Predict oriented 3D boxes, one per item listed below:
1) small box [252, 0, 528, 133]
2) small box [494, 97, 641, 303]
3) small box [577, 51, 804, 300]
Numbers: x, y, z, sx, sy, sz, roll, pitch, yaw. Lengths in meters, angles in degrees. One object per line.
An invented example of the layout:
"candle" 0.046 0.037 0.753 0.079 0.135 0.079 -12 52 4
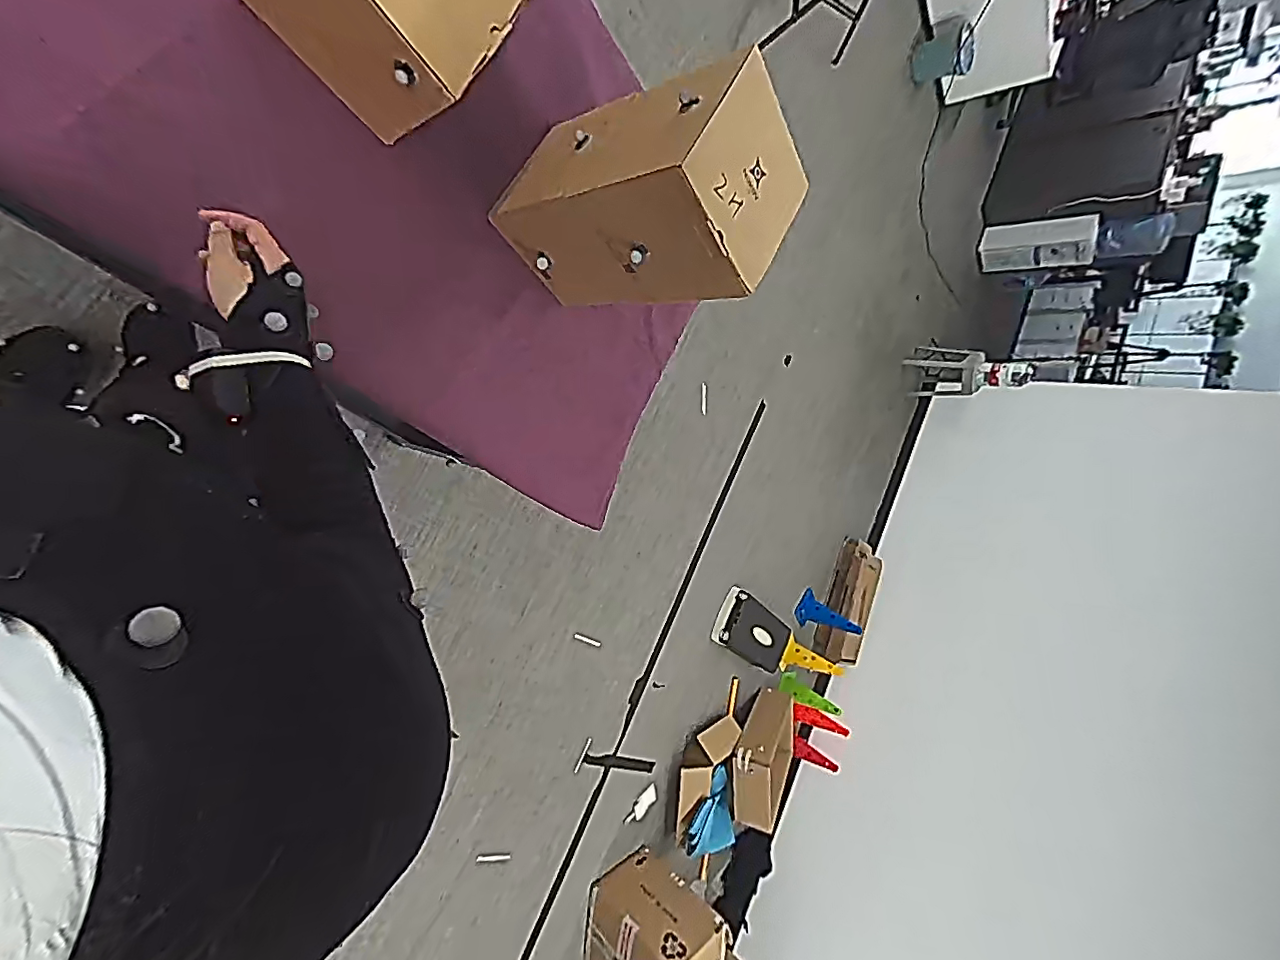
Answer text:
"small box" -0.239 -0.474 0.510 0.179 0.176 0.168 39 71 -46
"small box" -0.063 -0.361 0.729 0.168 0.176 0.179 44 69 -44
"small box" 0.058 -0.330 0.621 0.168 0.176 0.179 43 69 -43
